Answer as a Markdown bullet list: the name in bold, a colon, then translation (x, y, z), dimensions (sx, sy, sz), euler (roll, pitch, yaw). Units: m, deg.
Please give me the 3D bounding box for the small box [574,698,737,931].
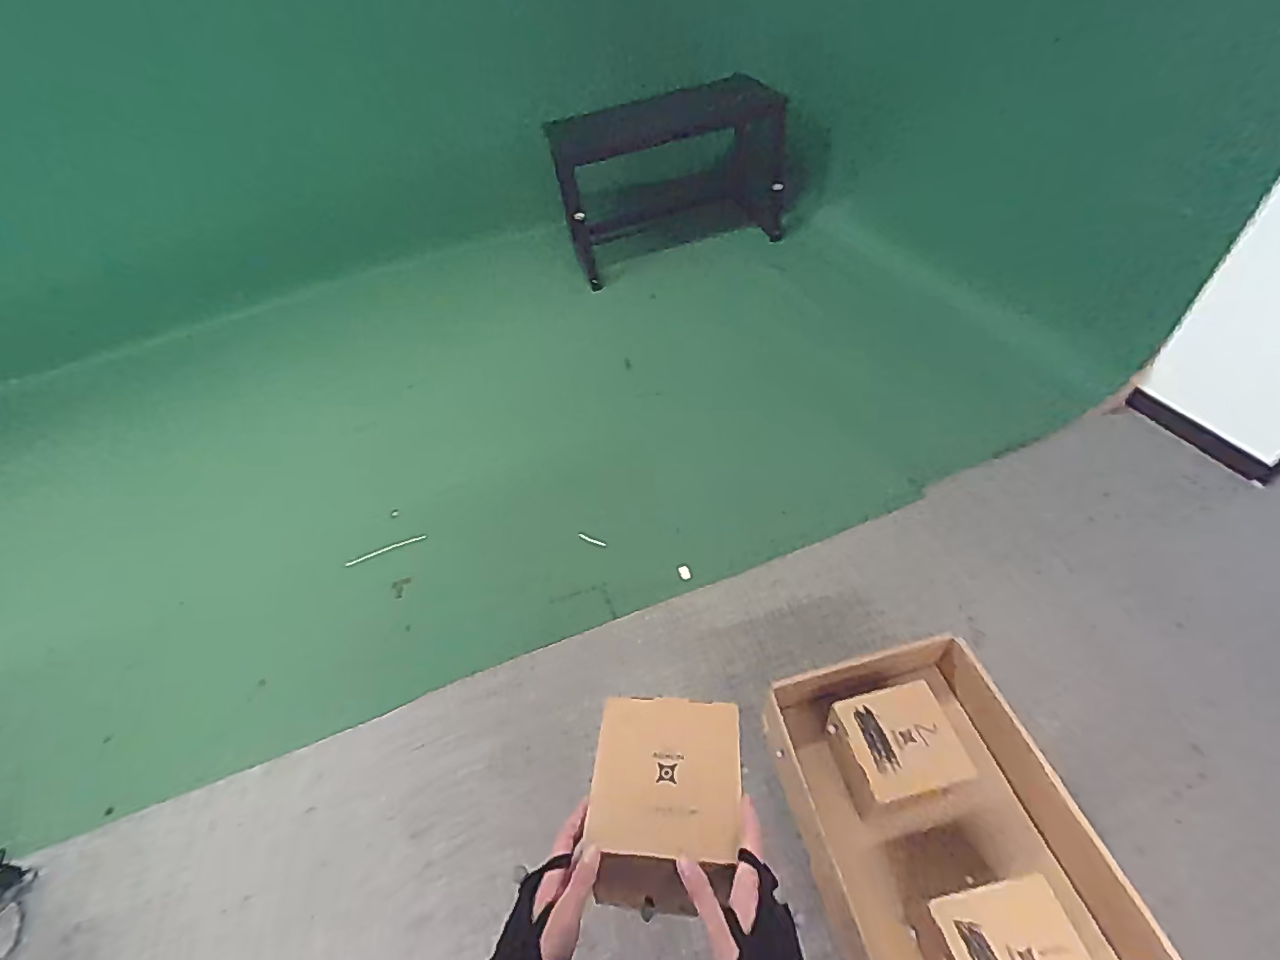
- **small box**: translation (0.026, 0.391, 0.644), dimensions (0.168, 0.176, 0.179), euler (2, 36, 7)
